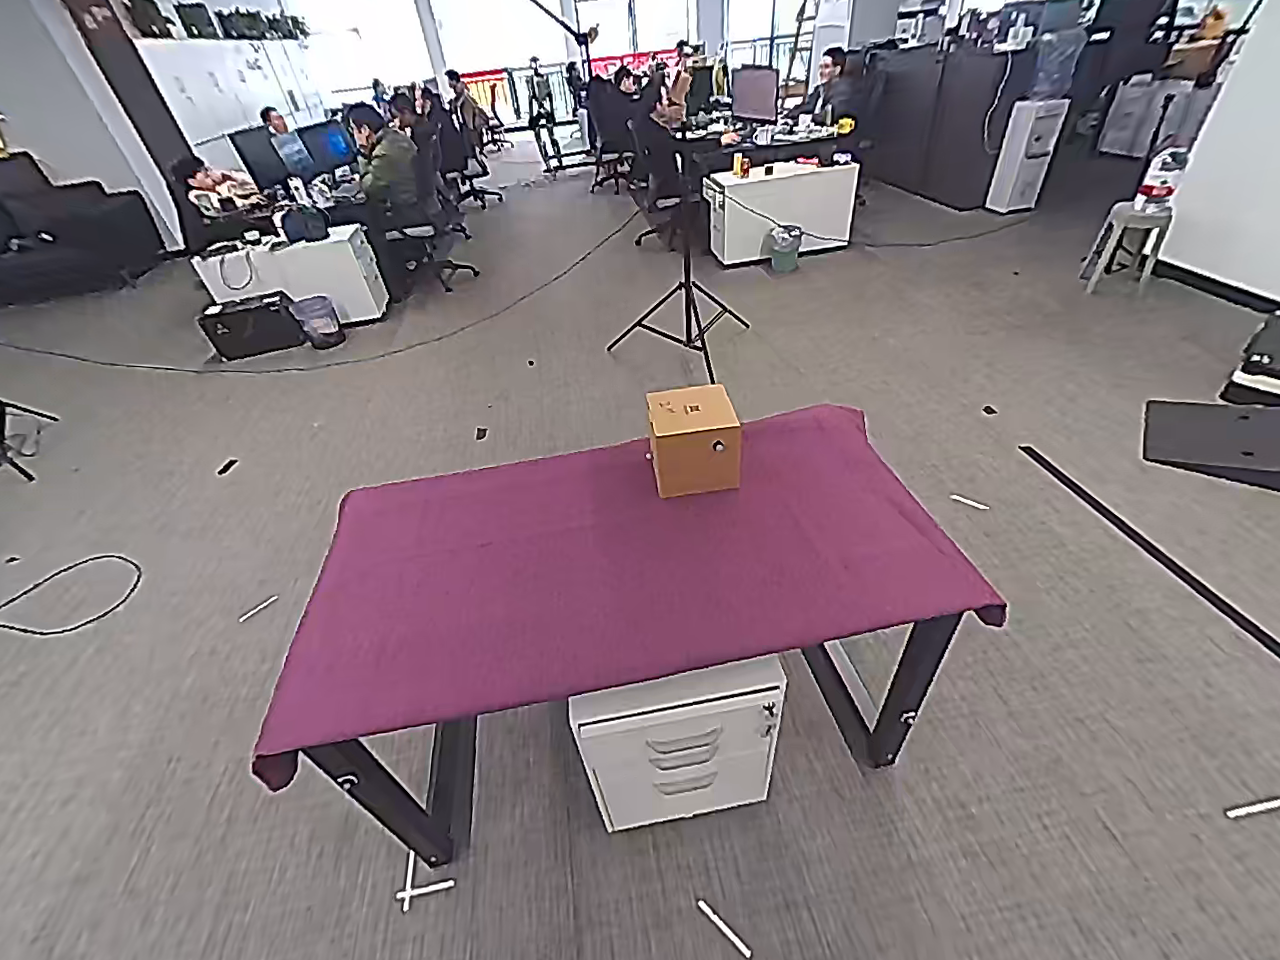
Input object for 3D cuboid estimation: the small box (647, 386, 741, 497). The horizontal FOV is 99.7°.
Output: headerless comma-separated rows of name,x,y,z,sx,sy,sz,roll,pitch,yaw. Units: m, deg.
small box,0.114,-0.083,1.182,0.179,0.176,0.168,-8,40,-1
